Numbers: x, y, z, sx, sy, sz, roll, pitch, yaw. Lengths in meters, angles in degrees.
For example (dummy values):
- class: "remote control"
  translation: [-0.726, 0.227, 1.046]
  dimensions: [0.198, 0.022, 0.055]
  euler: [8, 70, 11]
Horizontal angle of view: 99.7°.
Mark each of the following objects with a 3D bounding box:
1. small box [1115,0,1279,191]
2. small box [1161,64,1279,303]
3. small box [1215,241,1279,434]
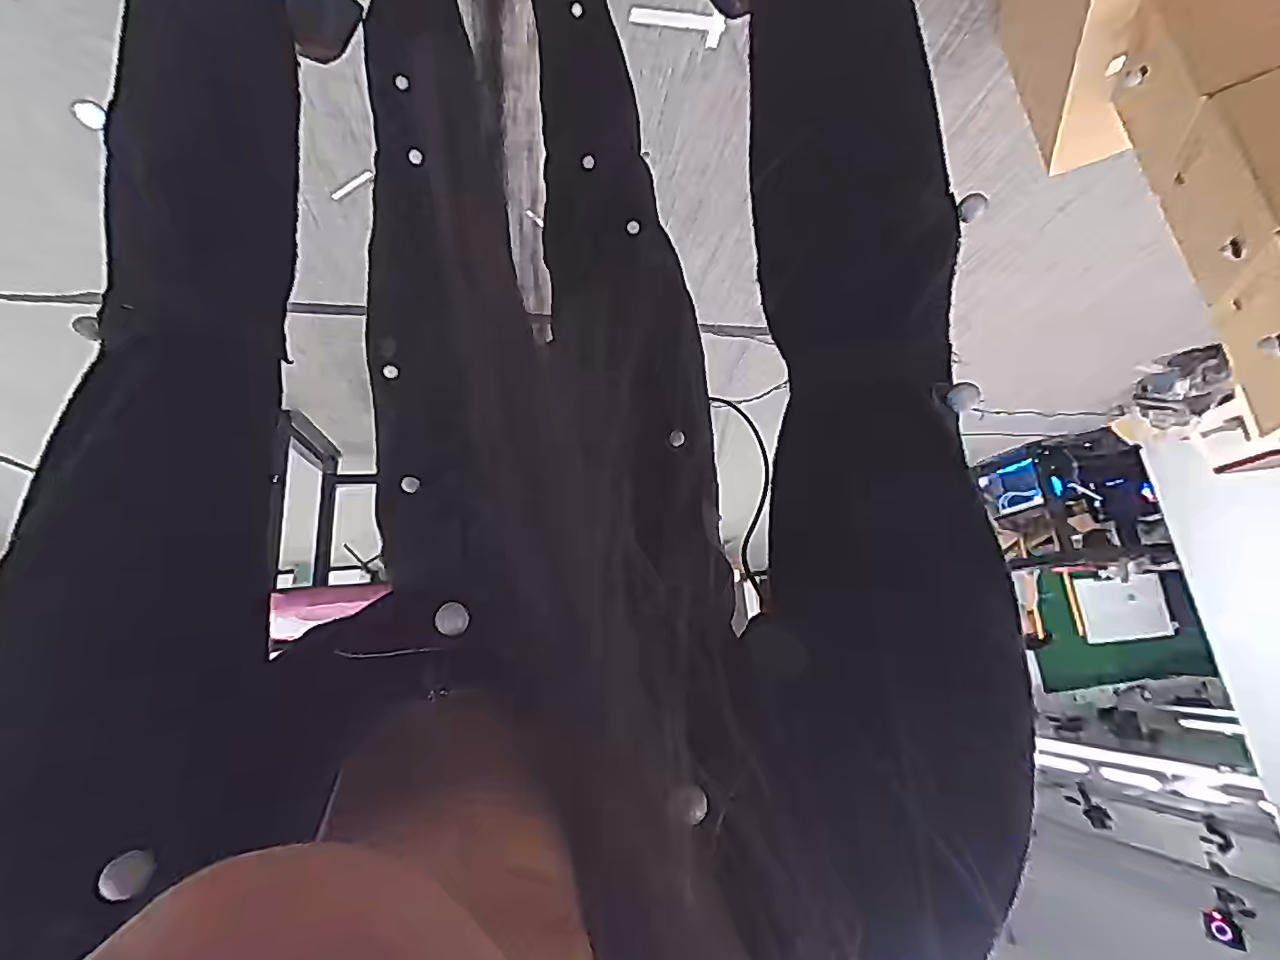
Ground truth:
- class: "small box"
  translation: [0.684, -0.477, 0.603]
  dimensions: [0.179, 0.176, 0.168]
  euler: [-13, 162, 27]
- class: "small box"
  translation: [0.701, -0.321, 0.556]
  dimensions: [0.179, 0.176, 0.168]
  euler: [-14, 161, 26]
- class: "small box"
  translation: [0.716, -0.164, 0.514]
  dimensions: [0.179, 0.176, 0.168]
  euler: [-14, 162, 27]
